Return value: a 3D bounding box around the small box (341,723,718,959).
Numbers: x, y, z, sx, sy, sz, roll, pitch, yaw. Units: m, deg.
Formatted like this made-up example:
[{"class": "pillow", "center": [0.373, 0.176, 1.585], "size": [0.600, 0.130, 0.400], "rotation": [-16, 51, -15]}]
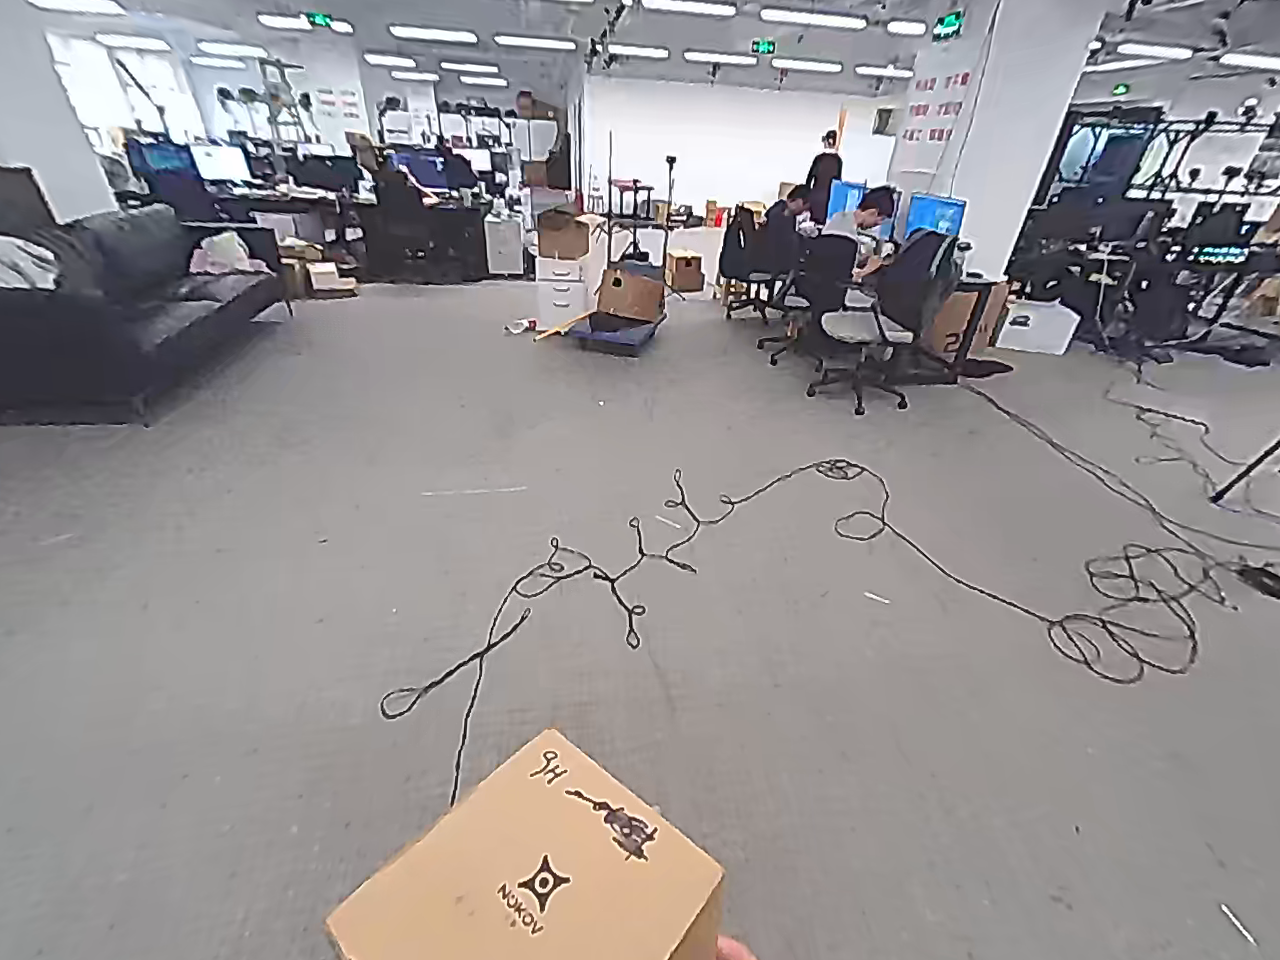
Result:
[{"class": "small box", "center": [-0.062, 0.320, 0.368], "size": [0.168, 0.176, 0.179], "rotation": [20, 33, 35]}]
